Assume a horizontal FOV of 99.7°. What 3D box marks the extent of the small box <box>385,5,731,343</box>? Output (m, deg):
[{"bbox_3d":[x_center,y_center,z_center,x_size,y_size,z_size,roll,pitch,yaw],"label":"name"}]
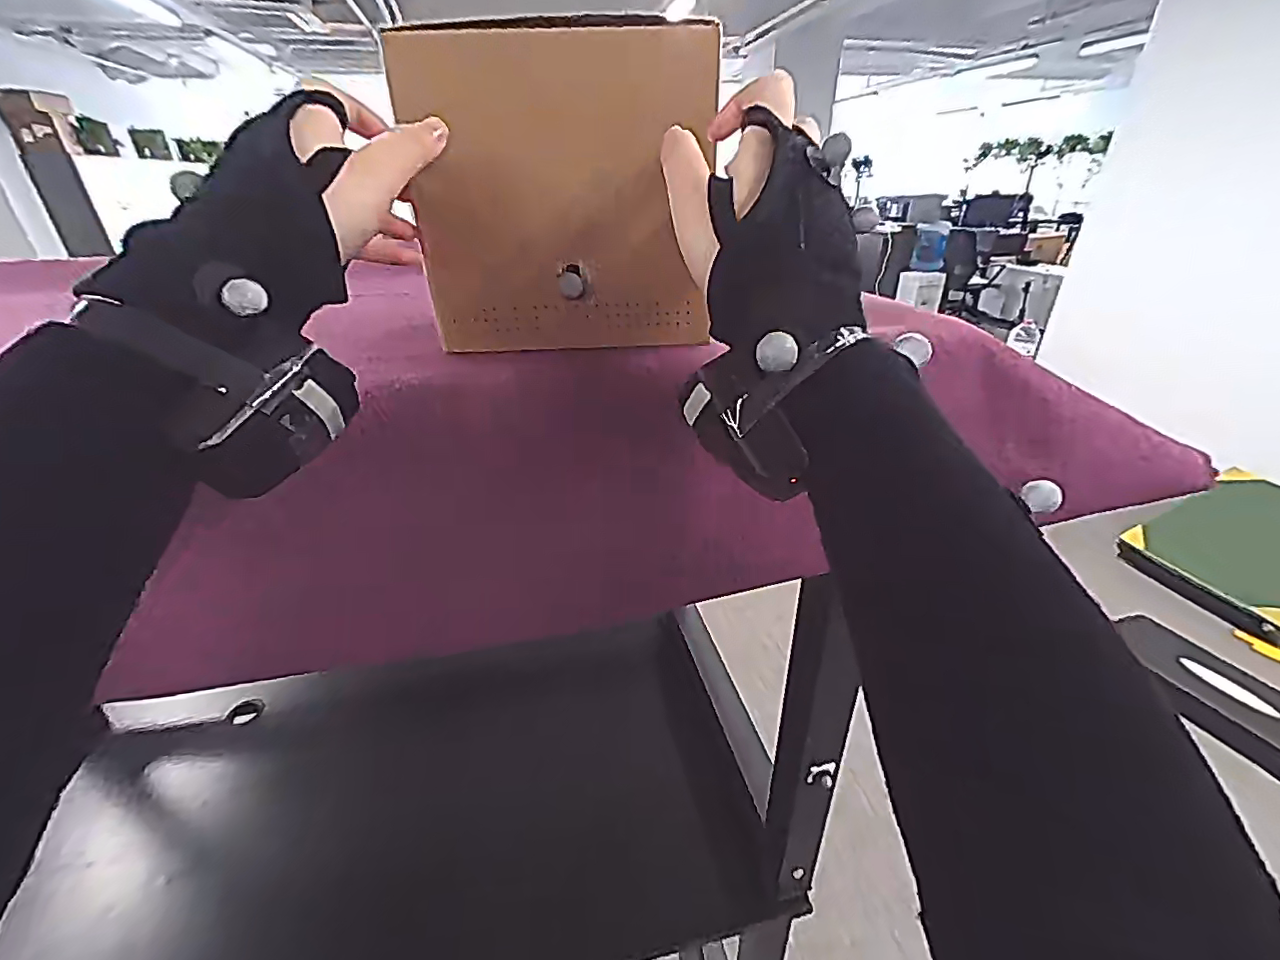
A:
[{"bbox_3d":[-0.043,-0.198,0.377,0.179,0.176,0.168,-2,28,-2],"label":"small box"}]
